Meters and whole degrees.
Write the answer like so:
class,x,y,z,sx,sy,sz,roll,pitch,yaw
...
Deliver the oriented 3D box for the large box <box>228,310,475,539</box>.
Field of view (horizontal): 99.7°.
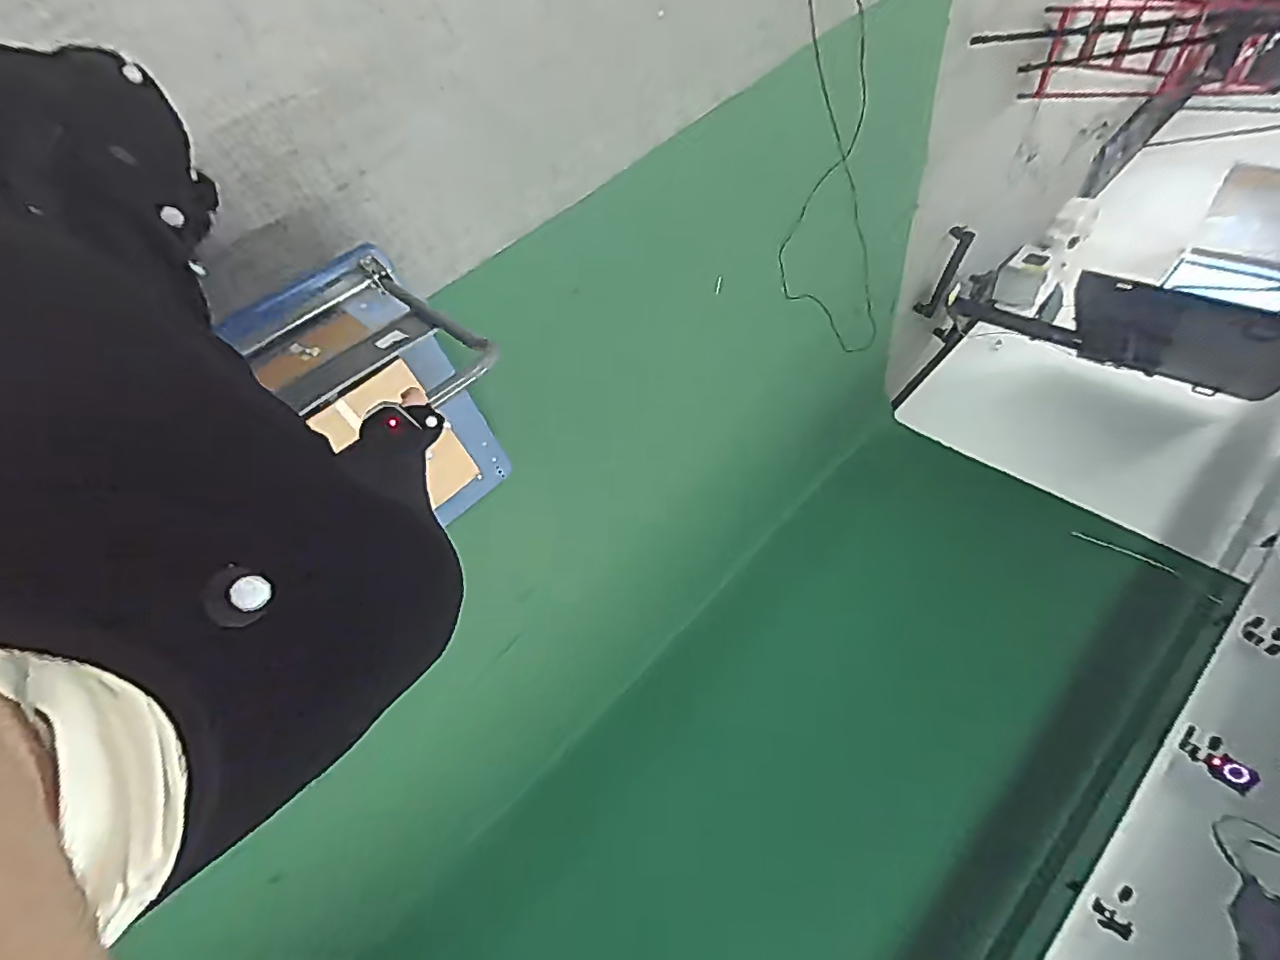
class,x,y,z,sx,sy,sz,roll,pitch,yaw
large box,-0.693,-0.134,1.340,0.320,0.320,0.408,-41,145,-18
